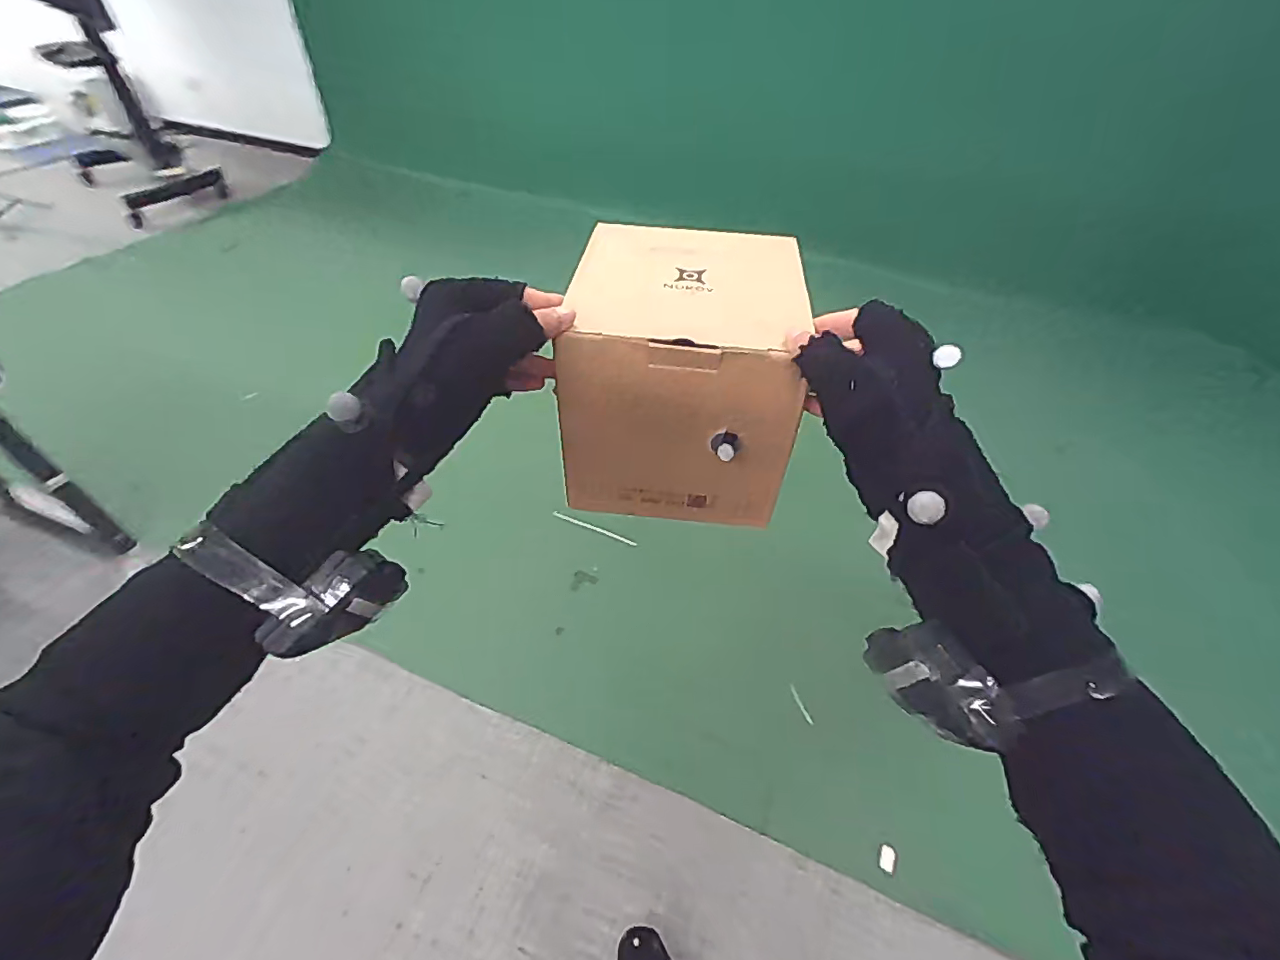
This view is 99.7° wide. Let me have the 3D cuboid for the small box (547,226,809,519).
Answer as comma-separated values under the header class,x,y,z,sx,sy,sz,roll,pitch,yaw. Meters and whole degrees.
class,x,y,z,sx,sy,sz,roll,pitch,yaw
small box,0.029,-0.087,0.445,0.168,0.176,0.179,6,45,2
